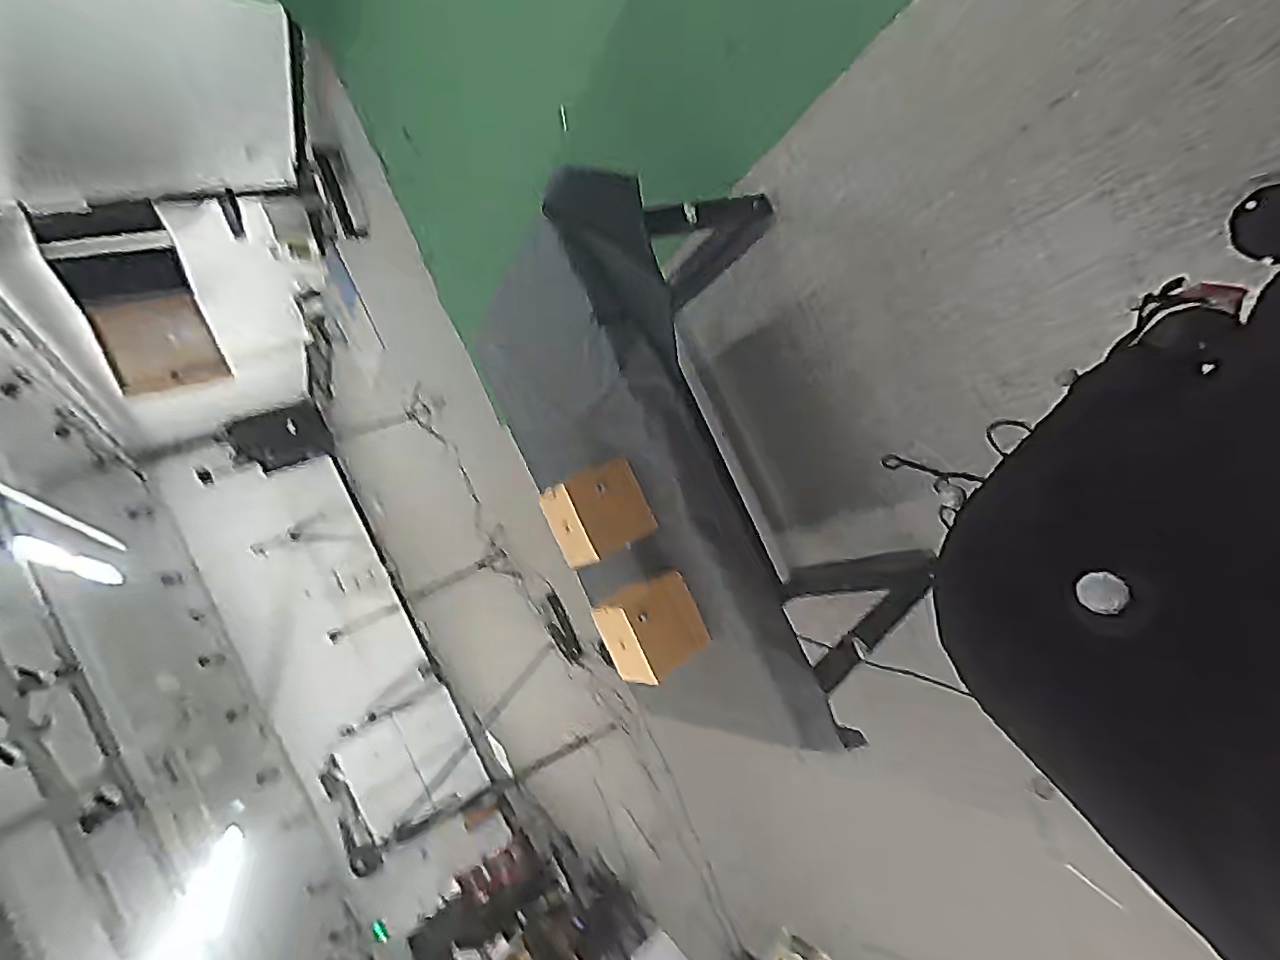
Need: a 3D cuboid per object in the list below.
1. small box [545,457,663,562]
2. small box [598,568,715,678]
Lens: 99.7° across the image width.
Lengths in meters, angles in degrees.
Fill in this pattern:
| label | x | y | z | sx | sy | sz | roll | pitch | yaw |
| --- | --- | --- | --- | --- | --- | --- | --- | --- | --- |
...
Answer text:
| label | x | y | z | sx | sy | sz | roll | pitch | yaw |
| --- | --- | --- | --- | --- | --- | --- | --- | --- | --- |
| small box | -0.080 | 0.062 | 1.212 | 0.168 | 0.176 | 0.179 | -27 | 90 | 59 |
| small box | 0.039 | 0.317 | 1.213 | 0.168 | 0.176 | 0.179 | -28 | 86 | 58 |
